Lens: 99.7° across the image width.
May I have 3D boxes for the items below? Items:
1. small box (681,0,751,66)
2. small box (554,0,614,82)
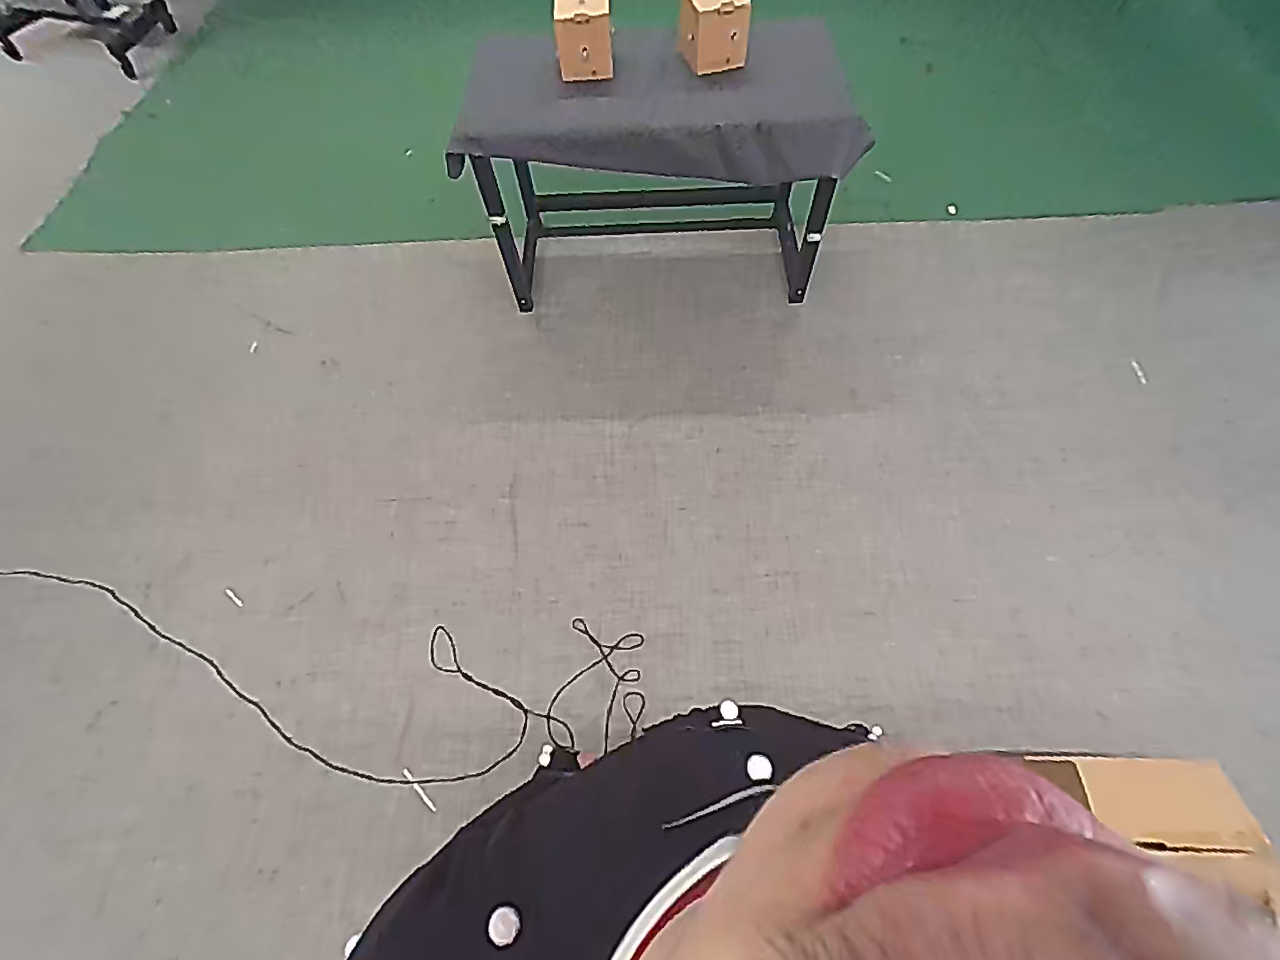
[{"bbox_3d":[0.229,-1.414,1.674,0.168,0.176,0.179,-12,62,-7],"label":"small box"},{"bbox_3d":[-0.174,-1.385,1.700,0.168,0.176,0.179,-6,62,1],"label":"small box"}]
